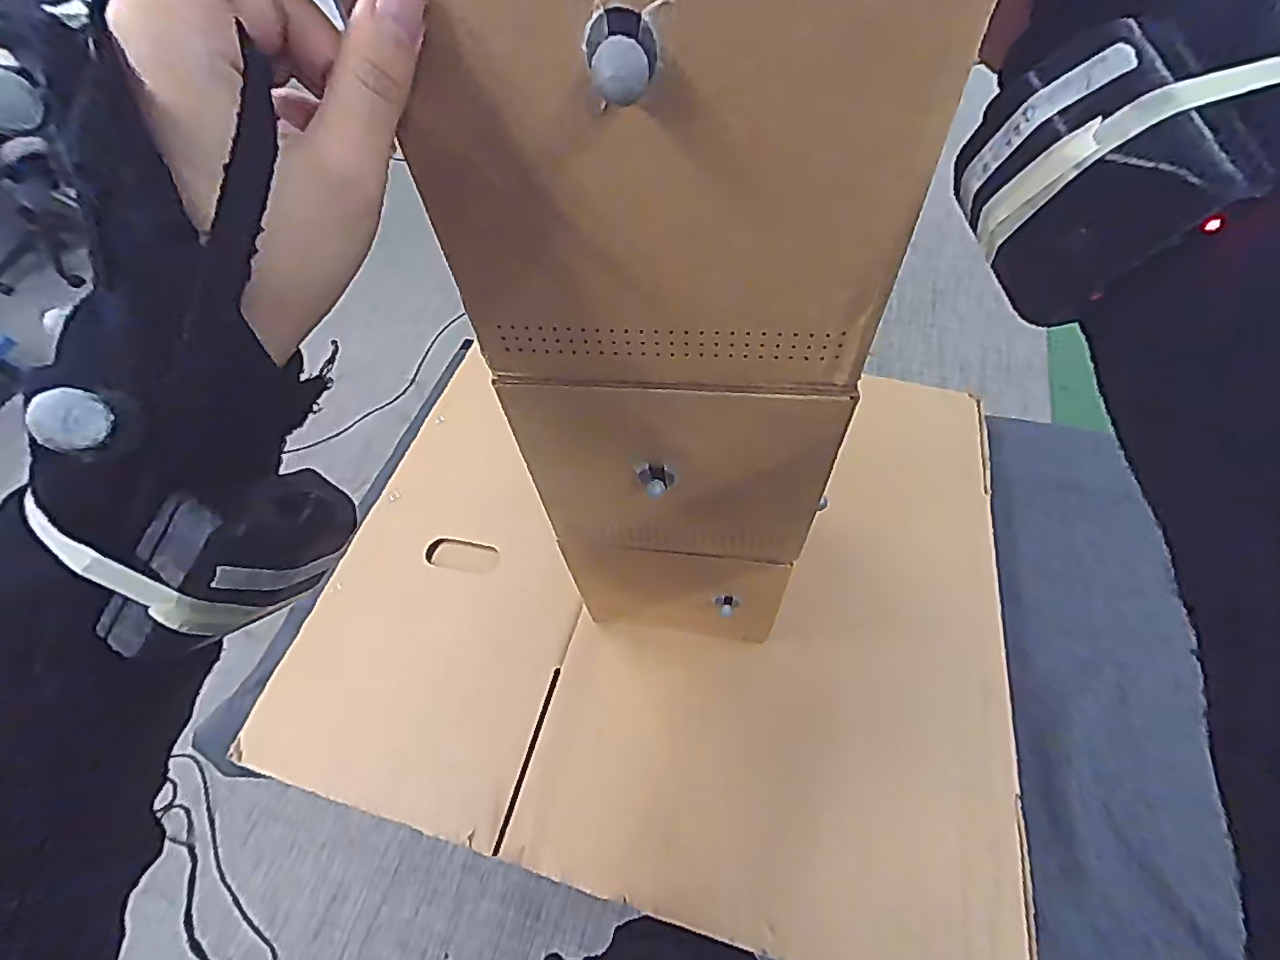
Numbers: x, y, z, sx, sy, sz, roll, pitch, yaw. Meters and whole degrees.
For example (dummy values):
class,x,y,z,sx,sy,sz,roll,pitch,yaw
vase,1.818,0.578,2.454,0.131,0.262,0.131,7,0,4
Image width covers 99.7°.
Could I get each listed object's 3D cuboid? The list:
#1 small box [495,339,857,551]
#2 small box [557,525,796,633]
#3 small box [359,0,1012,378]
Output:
class,x,y,z,sx,sy,sz,roll,pitch,yaw
small box,0.030,-0.064,0.364,0.179,0.176,0.168,4,56,8
small box,0.041,0.030,0.499,0.179,0.176,0.168,4,56,9
small box,0.021,-0.160,0.233,0.179,0.176,0.168,3,56,8
